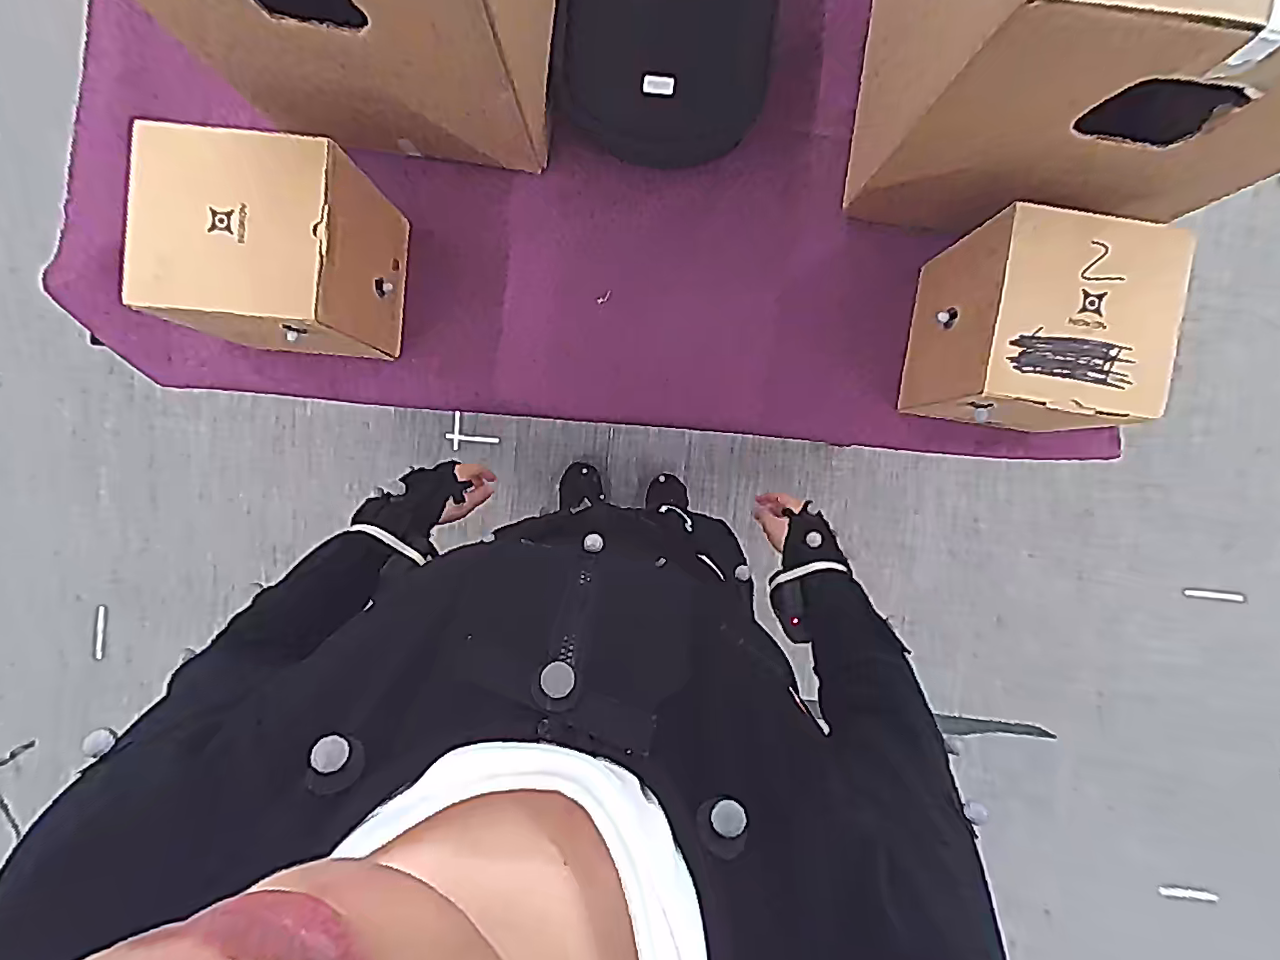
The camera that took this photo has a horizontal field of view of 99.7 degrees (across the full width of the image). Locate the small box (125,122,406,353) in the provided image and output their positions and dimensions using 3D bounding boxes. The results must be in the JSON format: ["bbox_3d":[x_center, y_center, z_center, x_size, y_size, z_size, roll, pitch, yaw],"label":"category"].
[{"bbox_3d":[-0.373,-0.236,0.568,0.179,0.176,0.168,4,91,-1],"label":"small box"}]

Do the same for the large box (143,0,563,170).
[{"bbox_3d":[-0.237,-0.573,0.485,0.320,0.320,0.408,7,95,0],"label":"large box"}]
